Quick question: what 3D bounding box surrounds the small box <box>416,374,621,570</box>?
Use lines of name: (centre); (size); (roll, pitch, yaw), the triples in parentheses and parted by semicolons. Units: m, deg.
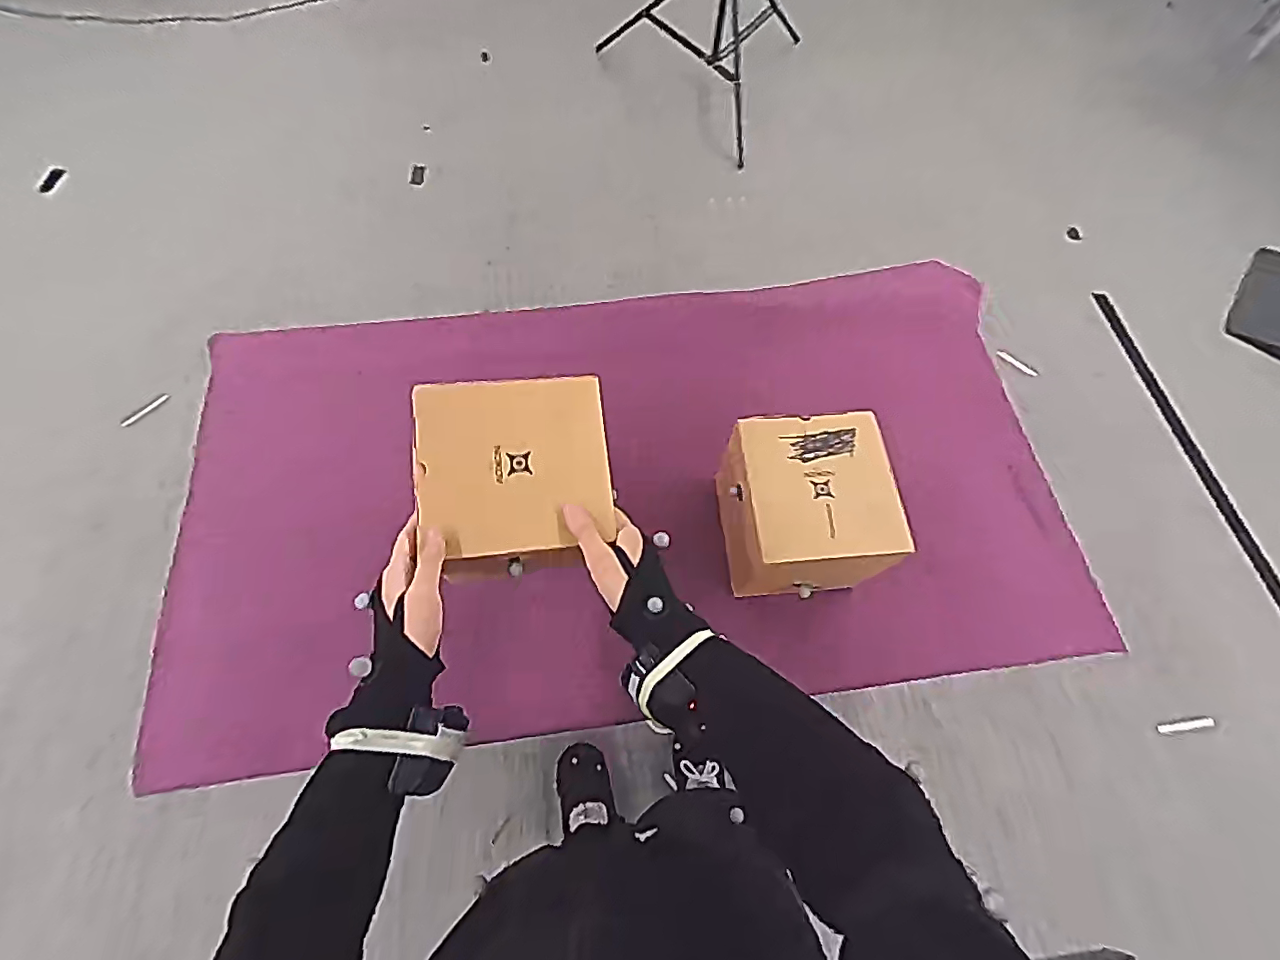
small box: (-0.124, 0.000, 0.569); (0.179, 0.176, 0.168); (-5, 77, -10)

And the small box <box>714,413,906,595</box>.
small box: (0.193, 0.036, 0.678); (0.168, 0.176, 0.179); (-4, 67, -3)
